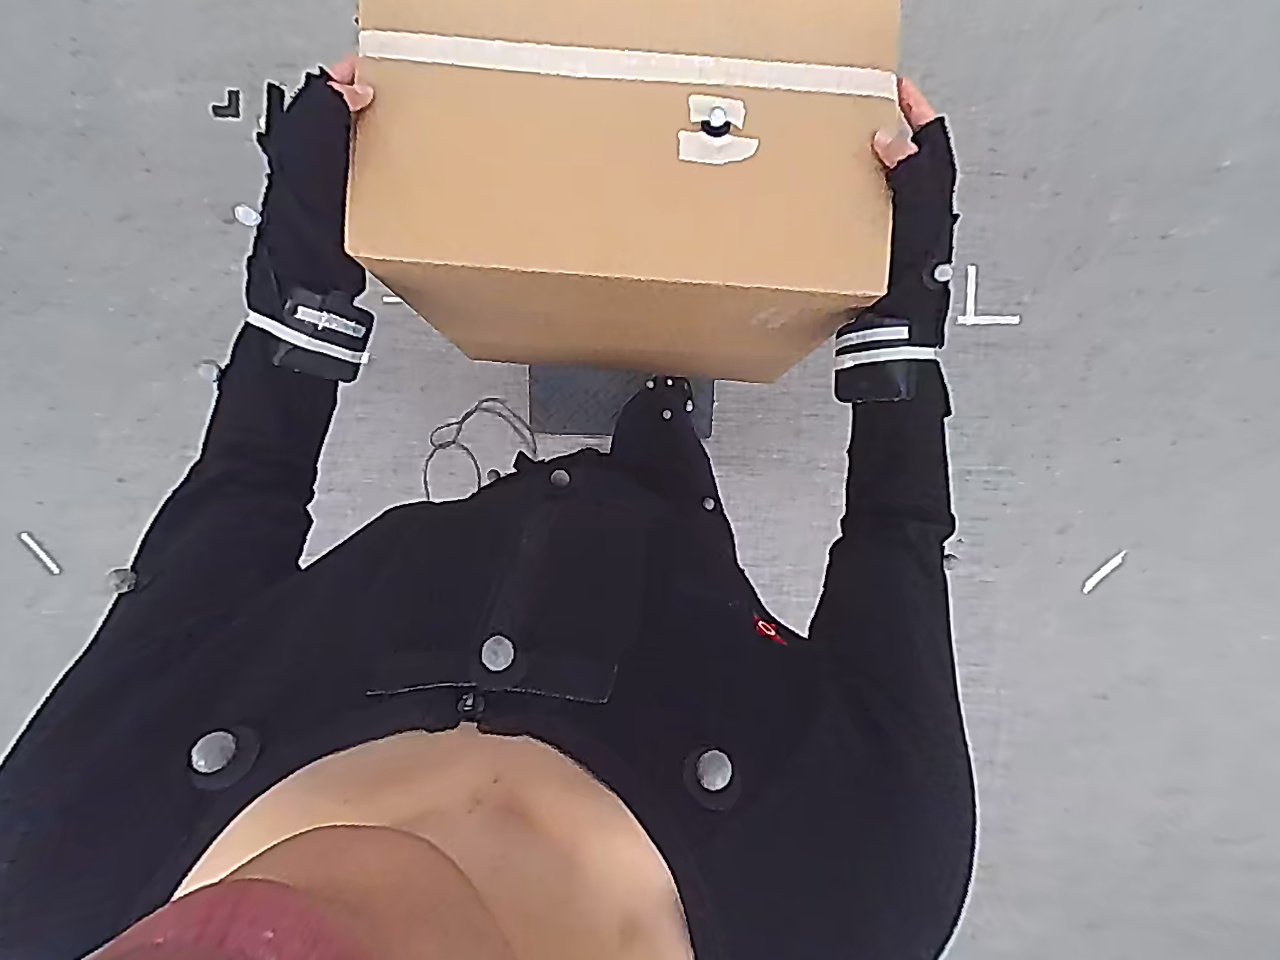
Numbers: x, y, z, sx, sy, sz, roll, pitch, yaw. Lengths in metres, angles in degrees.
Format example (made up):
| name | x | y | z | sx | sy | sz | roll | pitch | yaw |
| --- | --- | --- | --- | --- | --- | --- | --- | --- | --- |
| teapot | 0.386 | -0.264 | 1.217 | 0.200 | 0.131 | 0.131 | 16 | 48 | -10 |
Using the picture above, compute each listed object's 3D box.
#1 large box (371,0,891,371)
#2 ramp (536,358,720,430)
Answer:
| name | x | y | z | sx | sy | sz | roll | pitch | yaw |
| --- | --- | --- | --- | --- | --- | --- | --- | --- | --- |
| large box | -0.007 | -0.312 | 0.573 | 0.408 | 0.320 | 0.320 | 4 | 88 | -1 |
| ramp | -0.020 | -0.625 | 1.354 | 0.509 | 0.206 | 0.991 | 0 | 94 | -2 |
